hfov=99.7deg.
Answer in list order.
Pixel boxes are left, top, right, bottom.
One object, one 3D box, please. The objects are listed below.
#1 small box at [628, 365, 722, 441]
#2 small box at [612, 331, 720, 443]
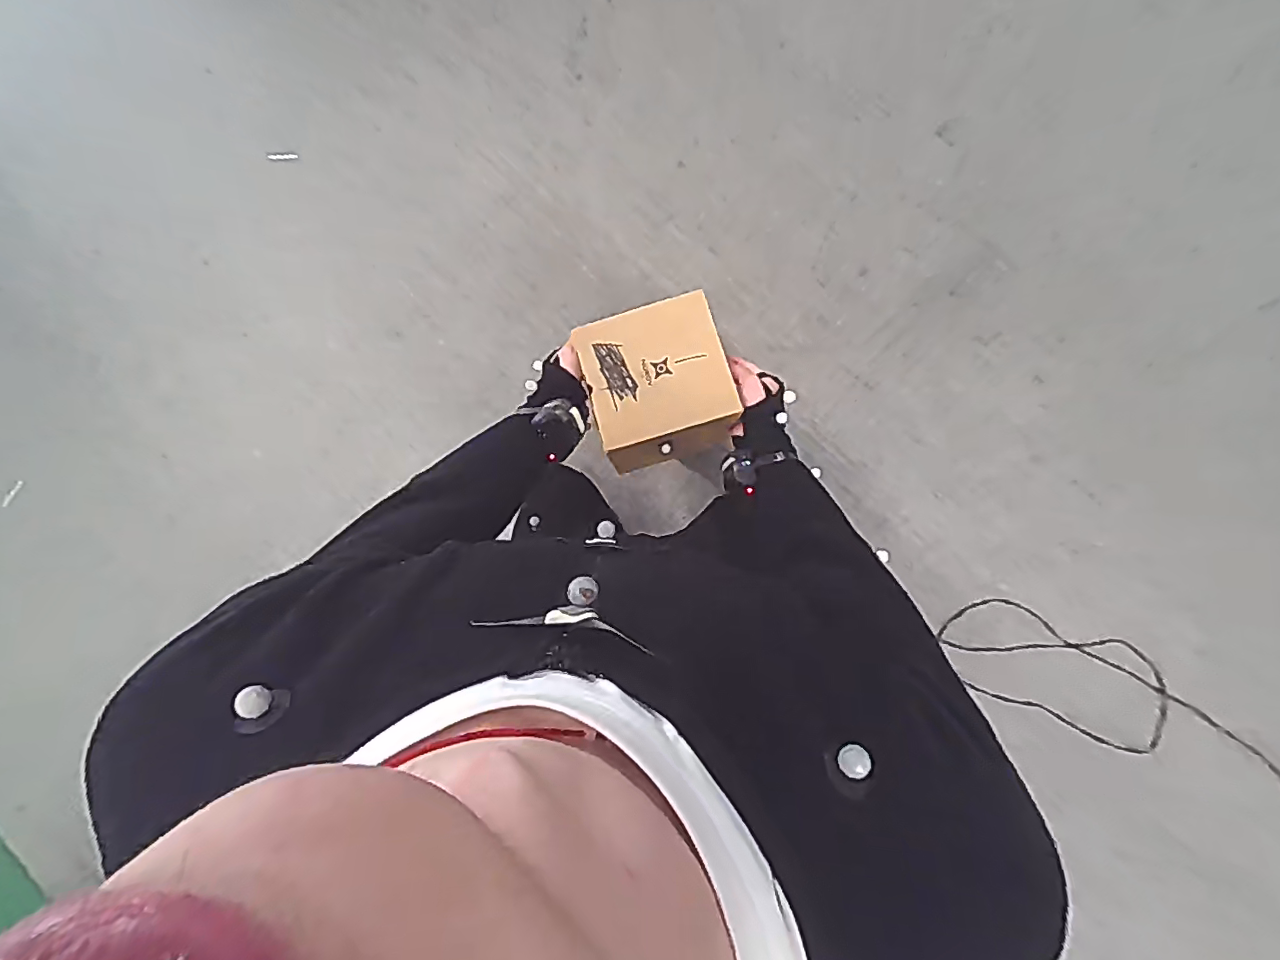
[{"bbox_3d":[0.093,-0.202,1.346,0.179,0.176,0.168,22,93,10],"label":"small box"},{"bbox_3d":[0.065,-0.194,1.193,0.168,0.176,0.179,-33,84,7],"label":"small box"}]
